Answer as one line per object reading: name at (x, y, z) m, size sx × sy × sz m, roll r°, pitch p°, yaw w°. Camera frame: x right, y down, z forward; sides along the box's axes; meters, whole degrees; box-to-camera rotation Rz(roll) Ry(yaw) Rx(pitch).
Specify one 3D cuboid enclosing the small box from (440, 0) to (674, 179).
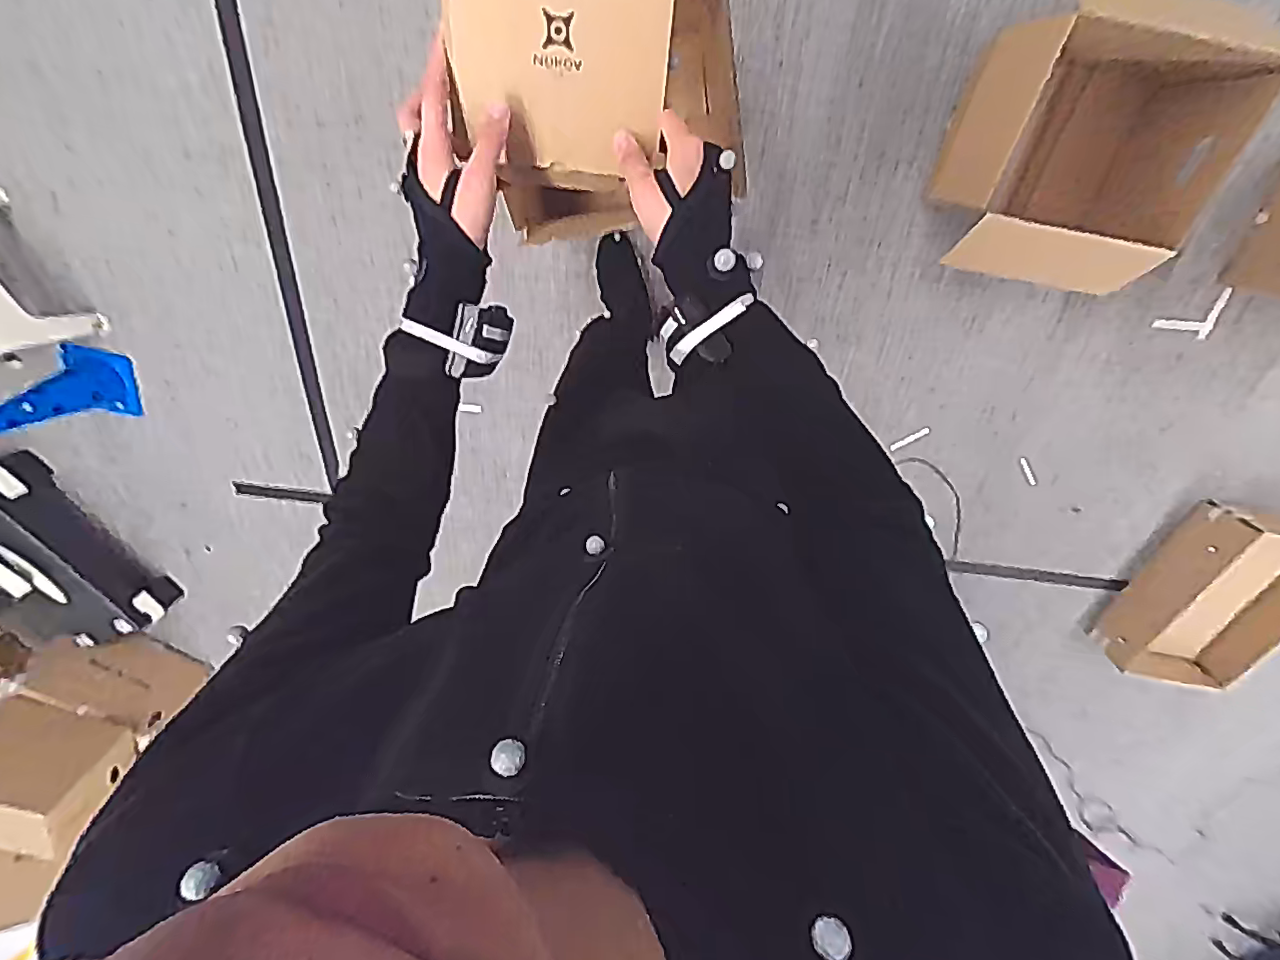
small box at (-0.062, -0.371, 0.449) m, size 0.168 × 0.176 × 0.179 m, roll 3°, pitch 128°, yaw -6°
